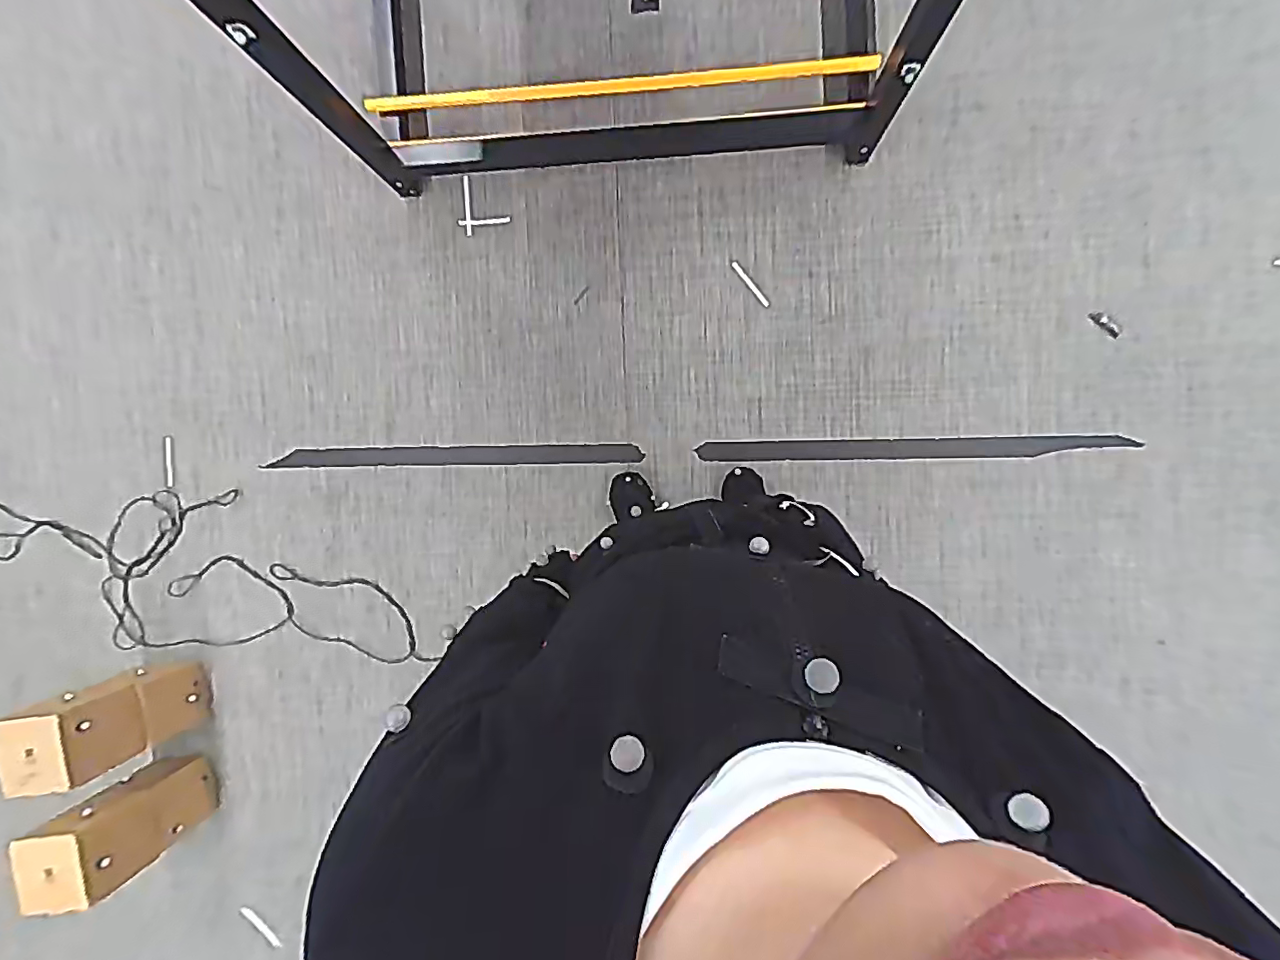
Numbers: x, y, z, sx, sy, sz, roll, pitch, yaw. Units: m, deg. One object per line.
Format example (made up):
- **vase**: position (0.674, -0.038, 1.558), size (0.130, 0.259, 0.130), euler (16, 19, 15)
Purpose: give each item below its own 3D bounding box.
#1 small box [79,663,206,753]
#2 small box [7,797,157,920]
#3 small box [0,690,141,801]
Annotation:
- **small box**: position (-1.295, 0.594, 1.414), size (0.179, 0.176, 0.168), euler (-6, 92, 4)
- **small box**: position (-1.290, 0.870, 1.263), size (0.168, 0.176, 0.179), euler (-9, 92, 5)
- **small box**: position (-1.318, 0.603, 1.251), size (0.168, 0.176, 0.179), euler (-8, 92, 5)
